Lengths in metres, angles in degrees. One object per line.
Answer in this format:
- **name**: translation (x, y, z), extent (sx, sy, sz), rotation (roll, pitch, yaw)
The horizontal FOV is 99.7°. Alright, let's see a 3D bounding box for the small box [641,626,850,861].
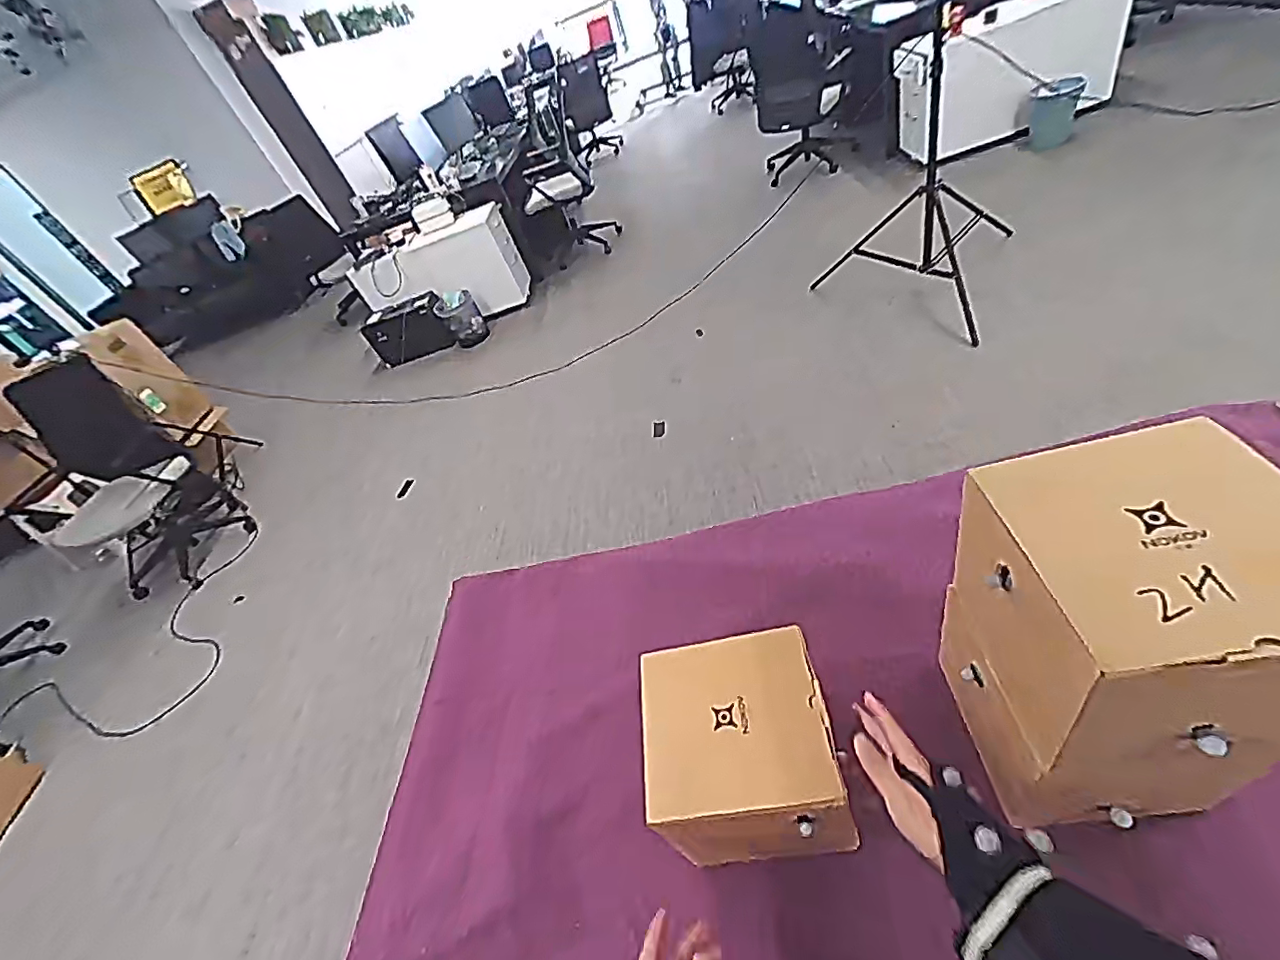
- **small box**: translation (0.109, 0.284, 0.575), extent (0.179, 0.176, 0.168), rotation (-14, 42, 10)

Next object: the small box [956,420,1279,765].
- **small box**: translation (0.361, 0.087, 0.408), extent (0.168, 0.176, 0.179), rotation (-14, 42, 13)

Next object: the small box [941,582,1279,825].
- **small box**: translation (0.408, 0.202, 0.517), extent (0.168, 0.176, 0.179), rotation (-14, 42, 12)
